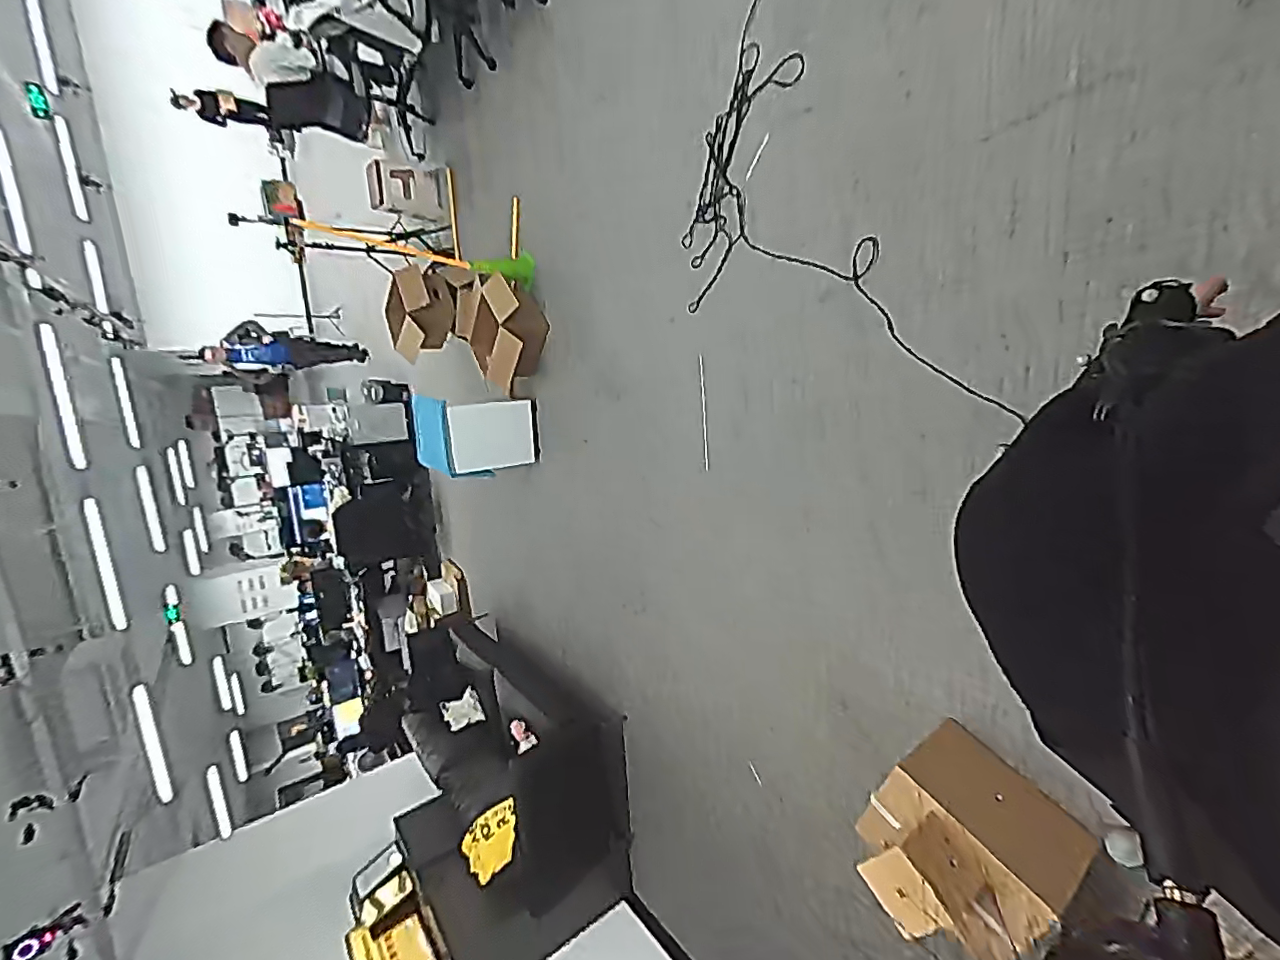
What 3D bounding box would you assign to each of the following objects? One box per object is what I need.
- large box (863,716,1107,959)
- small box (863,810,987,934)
[{"bbox_3d":[0.899,0.934,1.446,0.408,0.320,0.320,39,130,41],"label":"large box"},{"bbox_3d":[0.693,0.945,1.311,0.168,0.176,0.179,53,136,32],"label":"small box"}]
